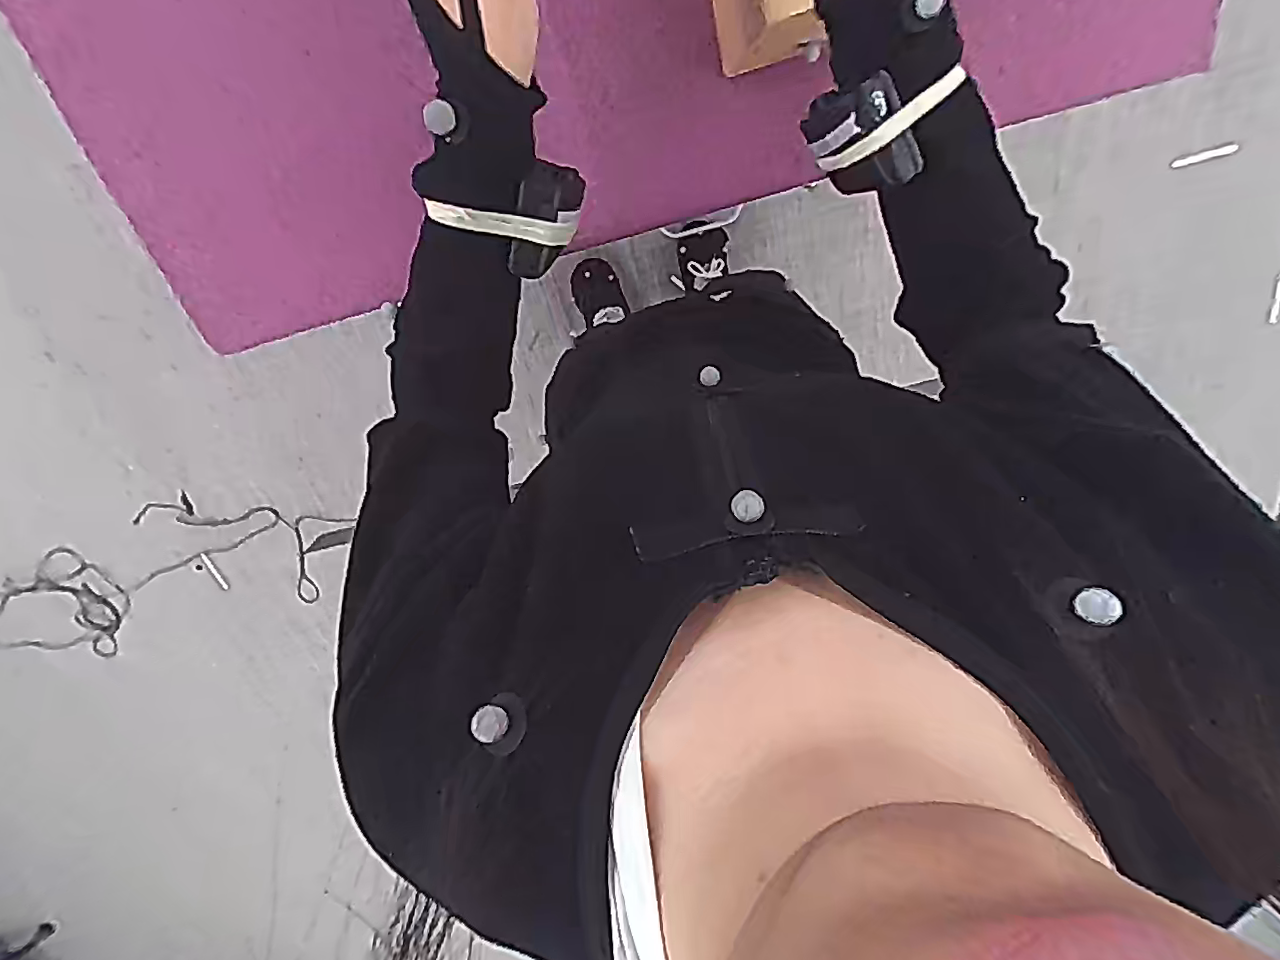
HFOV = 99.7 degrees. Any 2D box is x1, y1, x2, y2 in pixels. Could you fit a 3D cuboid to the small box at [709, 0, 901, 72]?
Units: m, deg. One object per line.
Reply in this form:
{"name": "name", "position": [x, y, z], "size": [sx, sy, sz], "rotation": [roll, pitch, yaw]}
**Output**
{"name": "small box", "position": [0.146, -0.499, 0.469], "size": [0.168, 0.176, 0.179], "rotation": [-15, 115, 4]}
